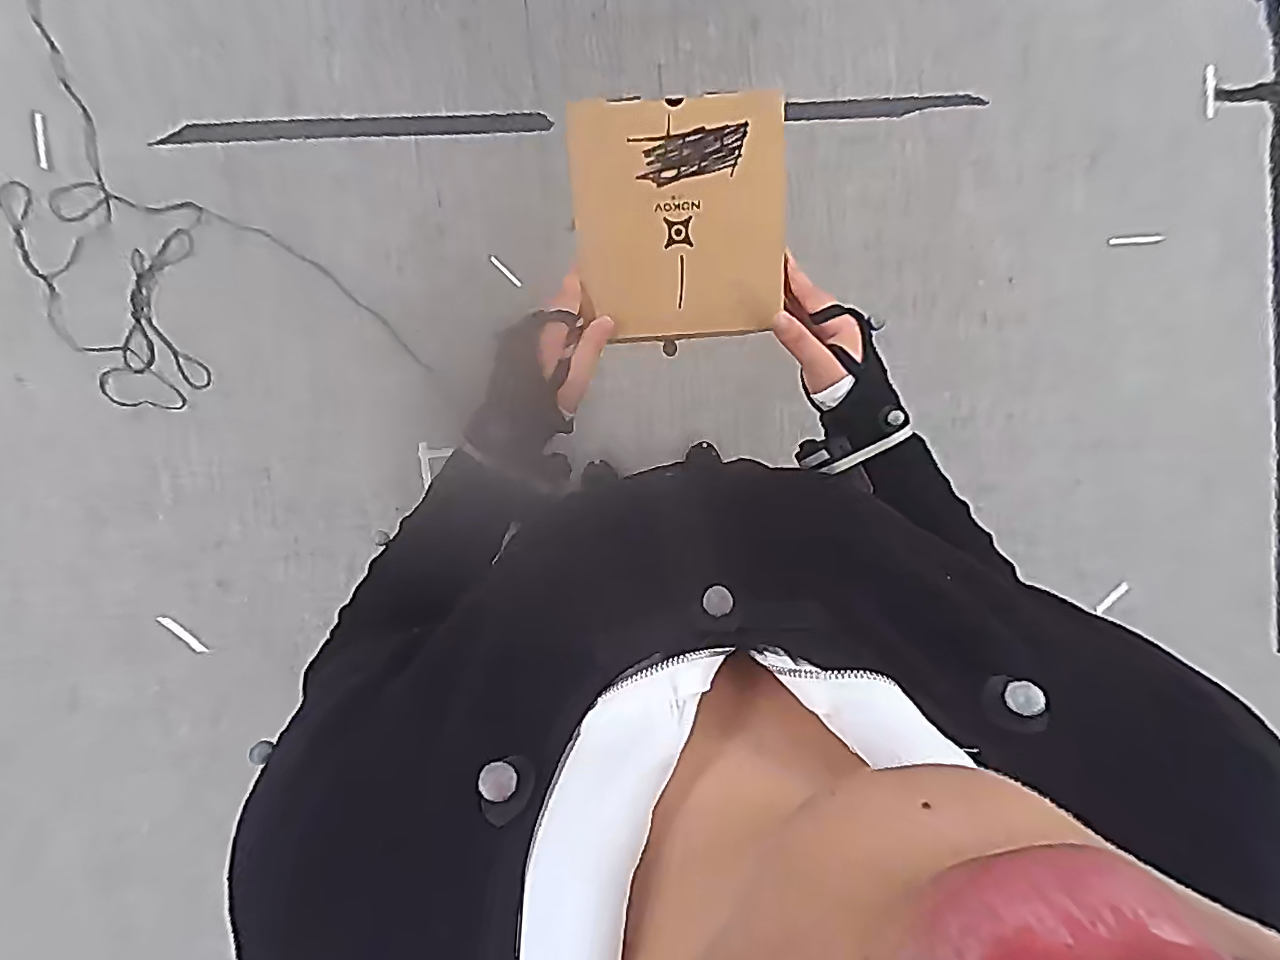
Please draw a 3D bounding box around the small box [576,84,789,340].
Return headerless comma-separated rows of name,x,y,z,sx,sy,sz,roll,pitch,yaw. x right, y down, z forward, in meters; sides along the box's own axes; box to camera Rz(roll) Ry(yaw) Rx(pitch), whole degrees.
small box,0.035,-0.227,0.503,0.168,0.176,0.179,-3,103,1
